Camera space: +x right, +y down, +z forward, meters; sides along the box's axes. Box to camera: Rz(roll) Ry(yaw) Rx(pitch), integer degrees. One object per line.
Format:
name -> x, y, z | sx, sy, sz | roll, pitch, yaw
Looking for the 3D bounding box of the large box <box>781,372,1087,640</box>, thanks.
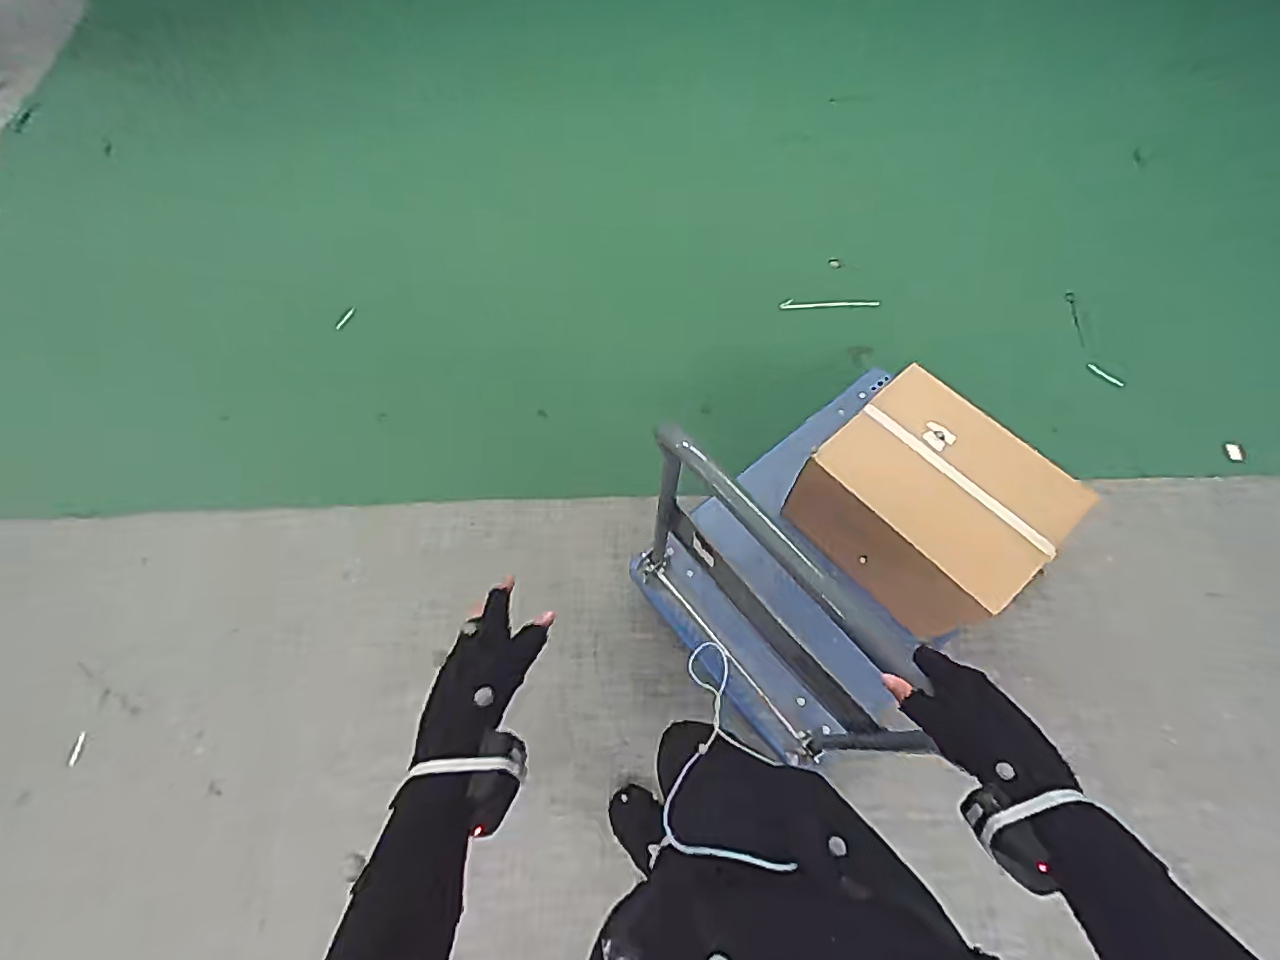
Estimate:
large box -> 0.564, 0.065, 1.126 | 0.320, 0.320, 0.408 | -39, 68, -14
